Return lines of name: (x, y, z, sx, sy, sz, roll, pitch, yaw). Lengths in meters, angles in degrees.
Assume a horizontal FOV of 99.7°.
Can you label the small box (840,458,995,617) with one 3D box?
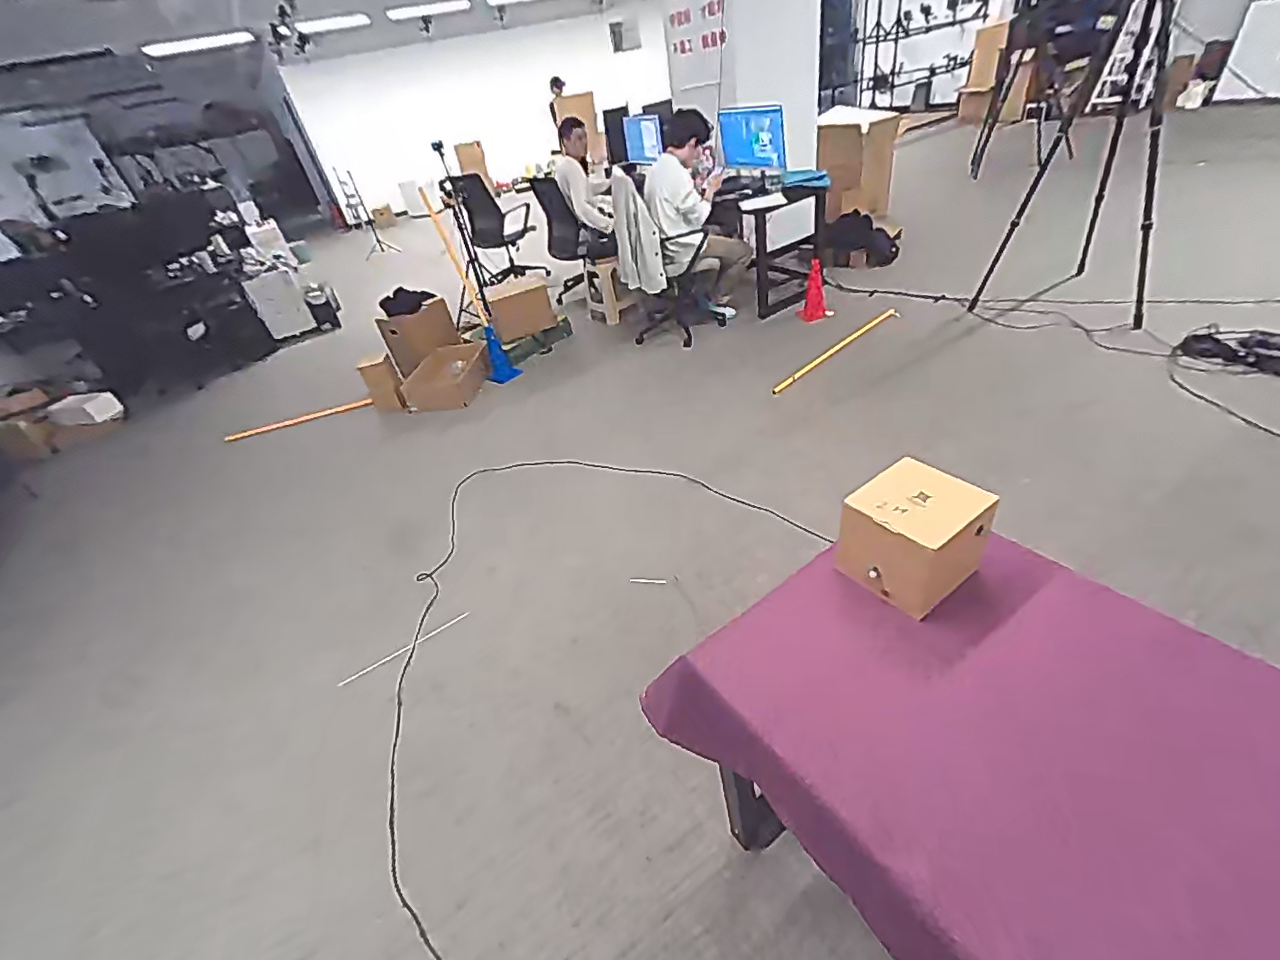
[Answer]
small box: (0.462, 0.096, 0.929, 0.179, 0.176, 0.168, -29, 40, -21)
